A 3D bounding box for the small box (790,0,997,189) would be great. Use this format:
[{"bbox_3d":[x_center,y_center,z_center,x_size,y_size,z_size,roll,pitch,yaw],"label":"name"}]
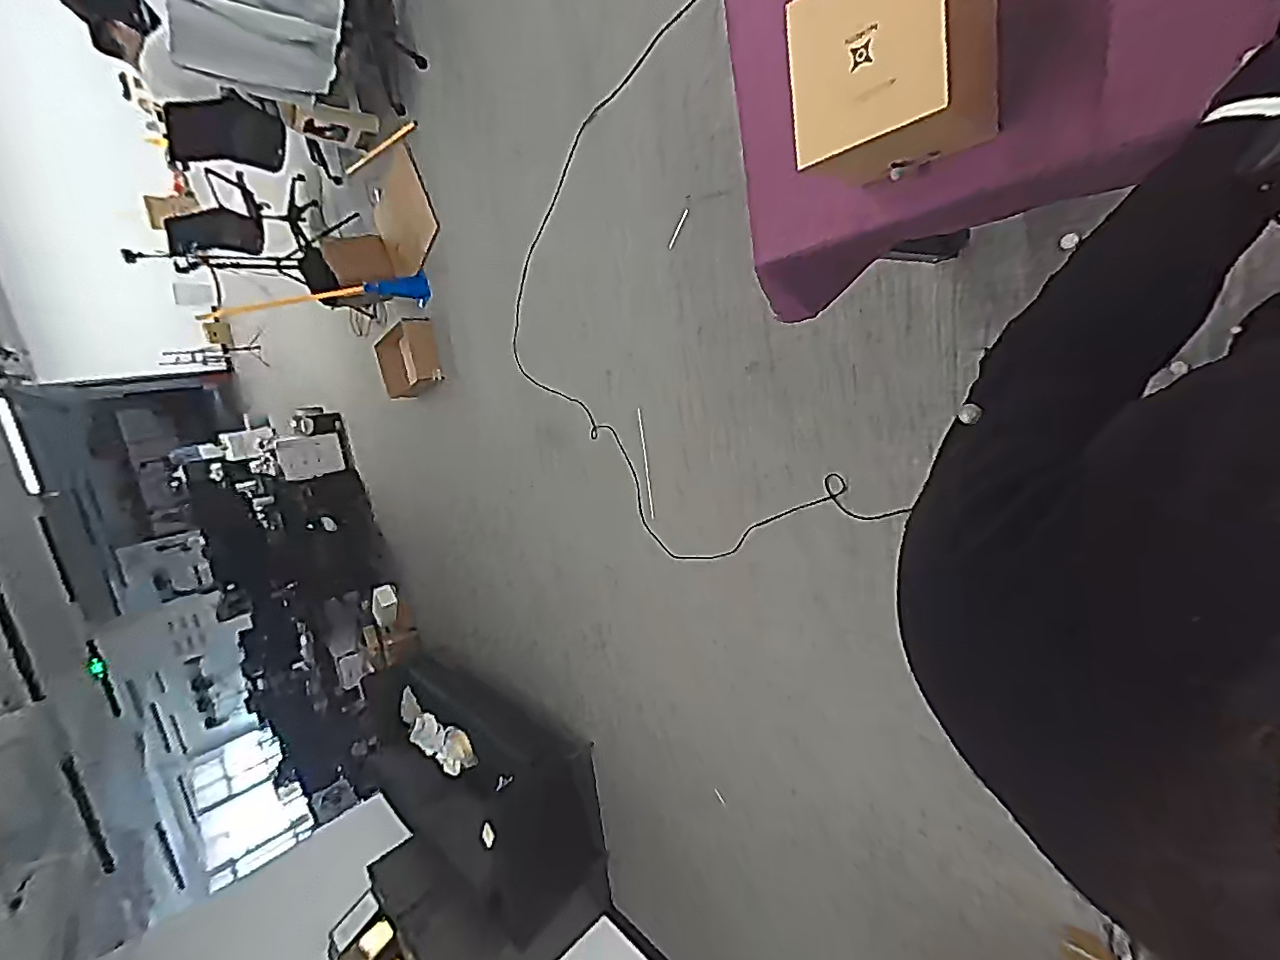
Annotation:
[{"bbox_3d":[0.294,-0.463,0.627,0.168,0.176,0.179,5,107,48],"label":"small box"}]
